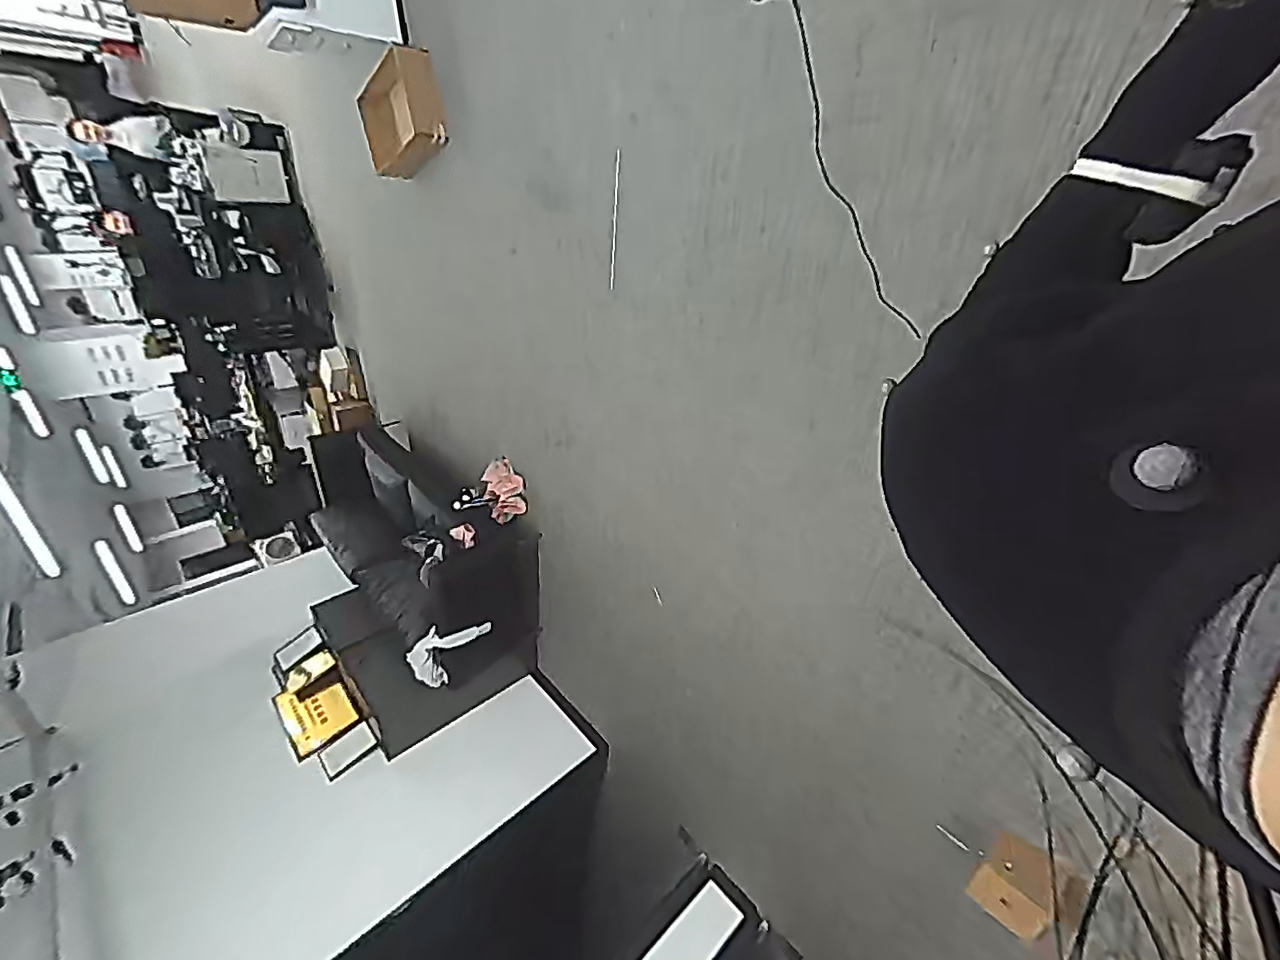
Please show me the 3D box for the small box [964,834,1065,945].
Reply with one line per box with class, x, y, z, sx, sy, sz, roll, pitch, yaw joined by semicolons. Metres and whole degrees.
small box;1.097;1.185;1.585;0.179;0.176;0.168;30;128;36
